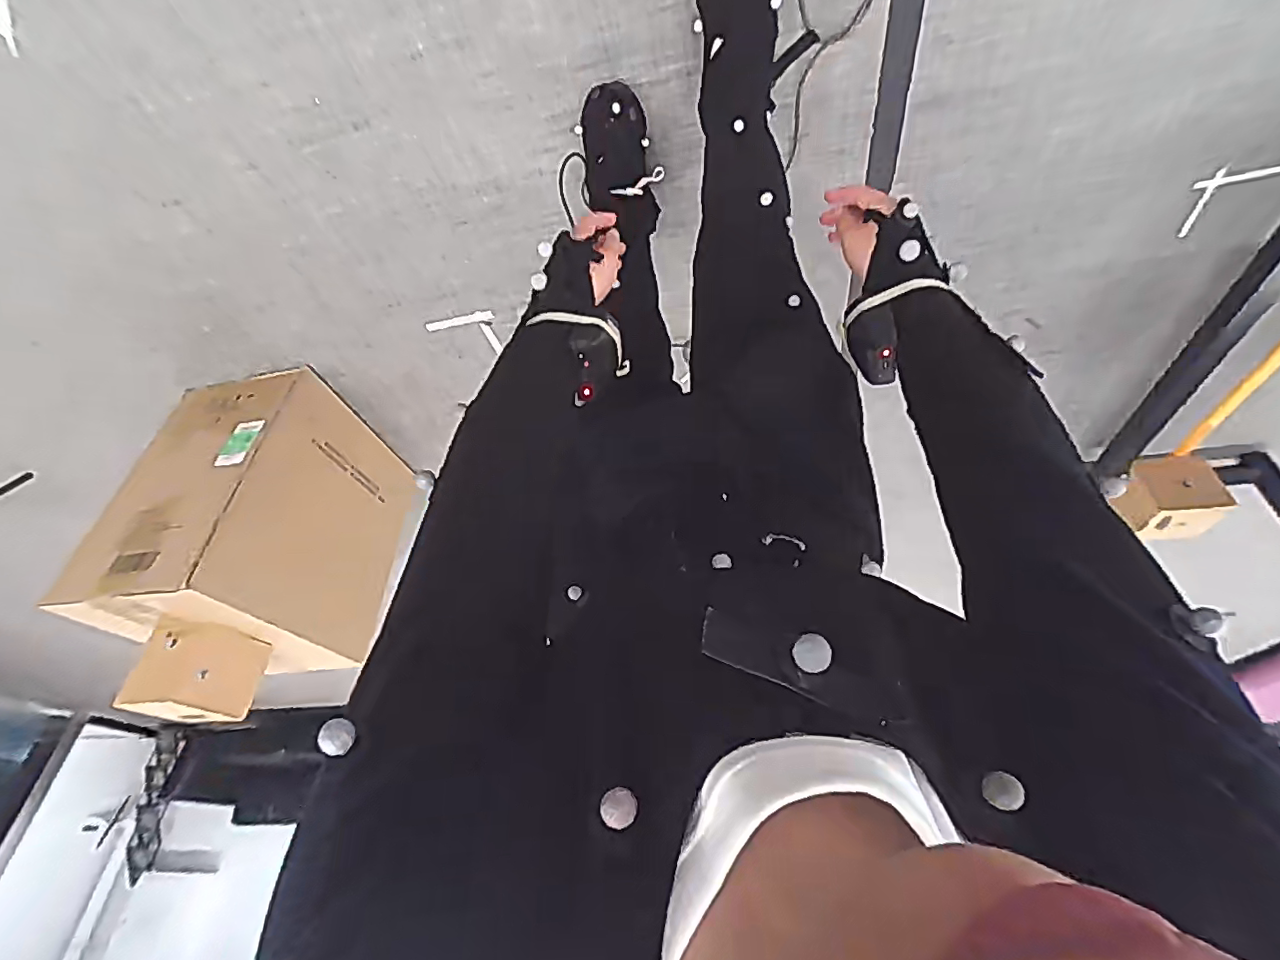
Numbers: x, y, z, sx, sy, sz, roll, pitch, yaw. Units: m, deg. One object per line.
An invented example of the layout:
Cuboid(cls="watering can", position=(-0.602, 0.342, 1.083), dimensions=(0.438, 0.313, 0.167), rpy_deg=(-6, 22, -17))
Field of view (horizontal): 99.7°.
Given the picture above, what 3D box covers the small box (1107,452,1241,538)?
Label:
Cuboid(cls="small box", position=(1.441, 0.041, 1.479), dimensions=(0.179, 0.176, 0.168), rpy_deg=(-7, 144, 10))
